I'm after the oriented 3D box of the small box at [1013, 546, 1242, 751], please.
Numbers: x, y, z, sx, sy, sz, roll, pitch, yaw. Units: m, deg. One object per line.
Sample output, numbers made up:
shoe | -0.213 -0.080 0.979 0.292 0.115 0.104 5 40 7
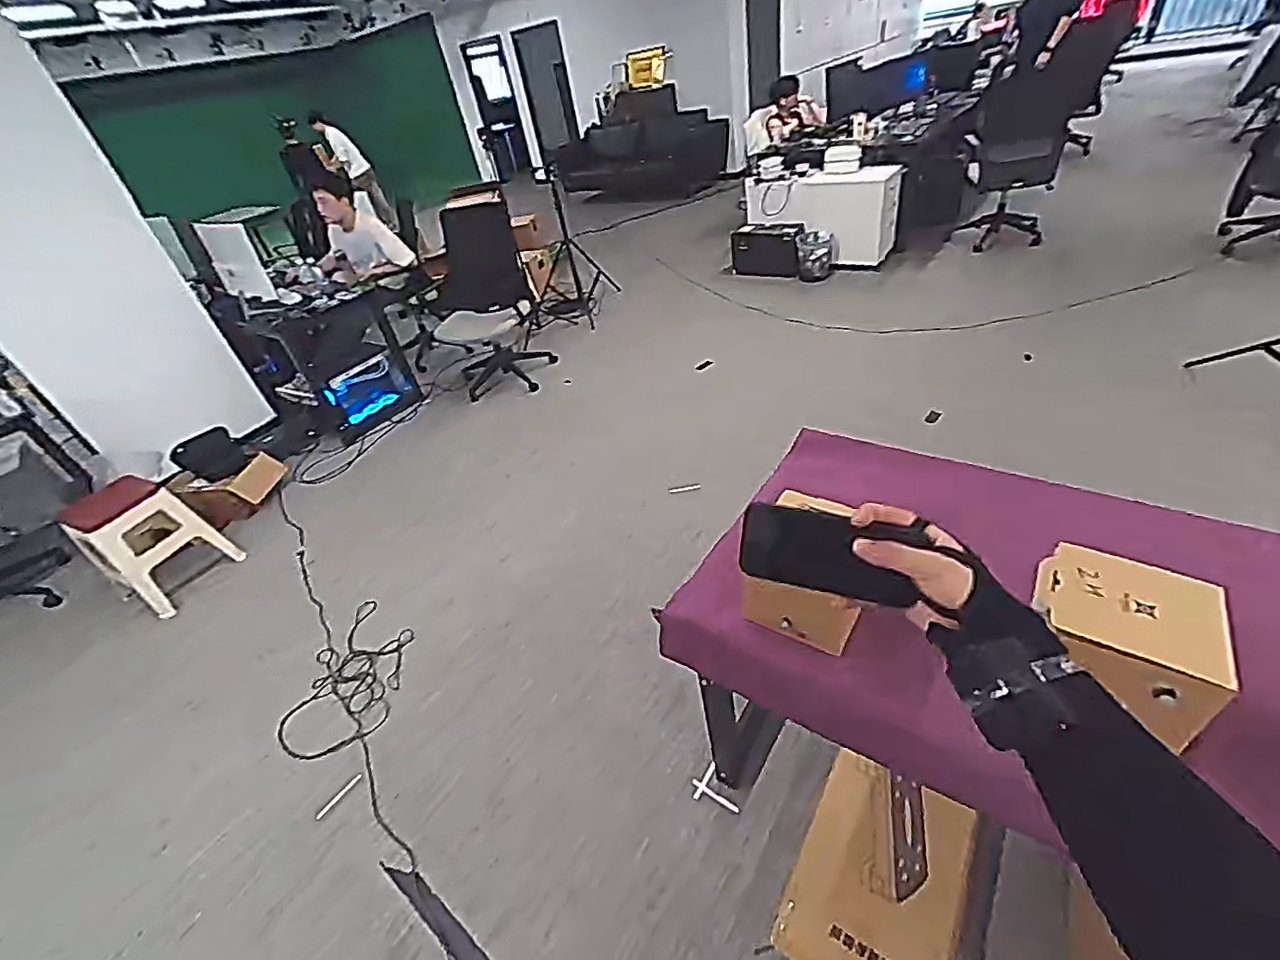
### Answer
small box | 0.627 0.223 0.715 0.179 0.176 0.168 17 44 32
